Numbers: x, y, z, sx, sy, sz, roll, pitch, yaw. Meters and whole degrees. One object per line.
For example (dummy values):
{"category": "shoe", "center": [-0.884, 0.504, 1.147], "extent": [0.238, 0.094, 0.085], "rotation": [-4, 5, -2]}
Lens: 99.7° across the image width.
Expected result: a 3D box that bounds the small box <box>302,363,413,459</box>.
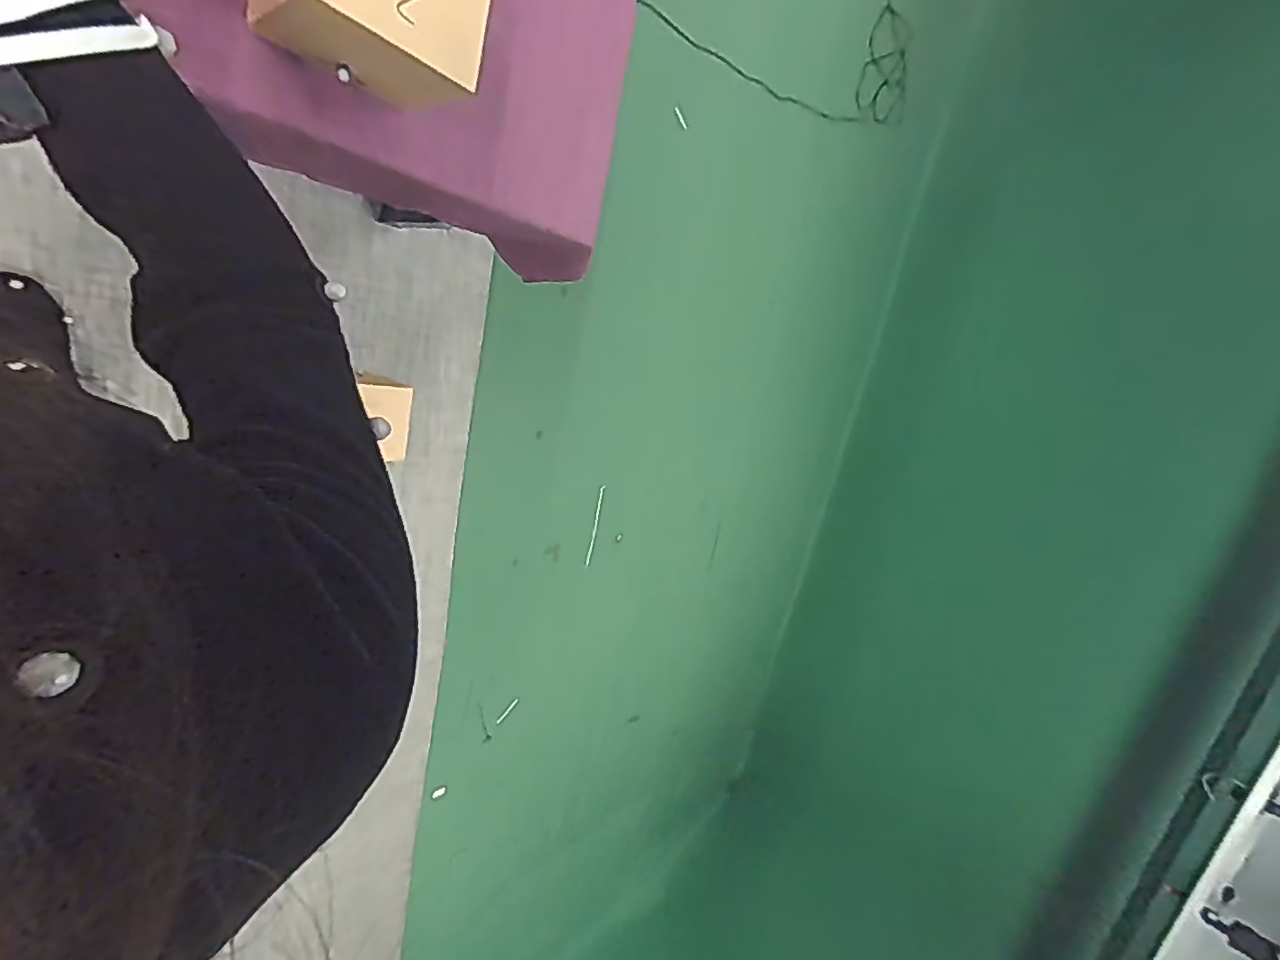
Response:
{"category": "small box", "center": [-0.640, -0.155, 1.219], "extent": [0.168, 0.176, 0.179], "rotation": [-5, 111, -51]}
